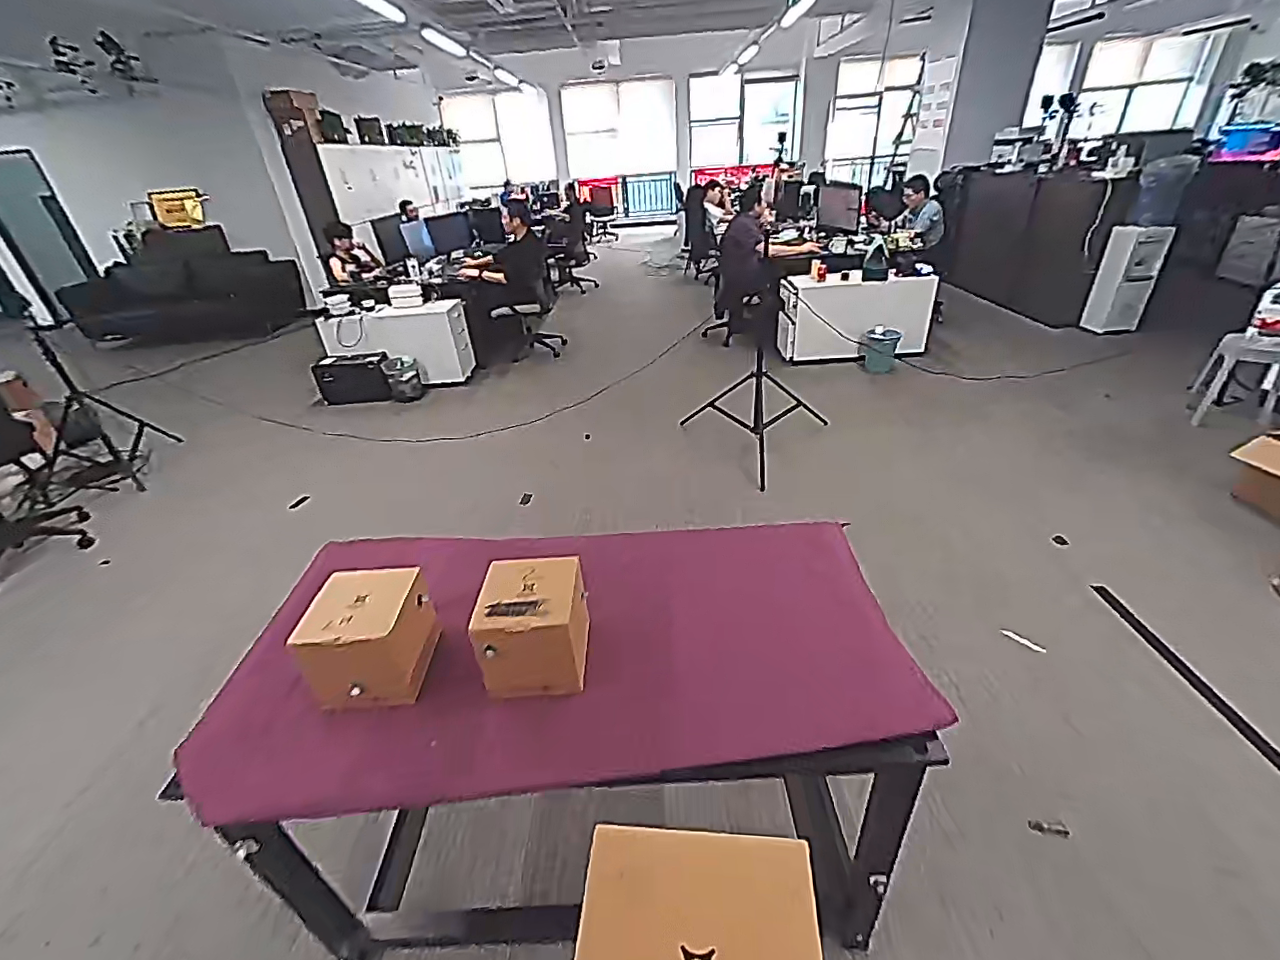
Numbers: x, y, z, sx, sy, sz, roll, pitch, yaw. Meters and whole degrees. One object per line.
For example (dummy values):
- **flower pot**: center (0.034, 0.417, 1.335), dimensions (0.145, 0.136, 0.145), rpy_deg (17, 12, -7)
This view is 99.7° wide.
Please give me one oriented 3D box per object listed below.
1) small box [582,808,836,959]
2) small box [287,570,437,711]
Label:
- **small box**: center (0.048, 0.374, 0.391), dimensions (0.168, 0.176, 0.179), rpy_deg (0, 35, 7)
- **small box**: center (-0.479, 0.283, 0.967), dimensions (0.168, 0.176, 0.179), rpy_deg (-4, 31, -1)
